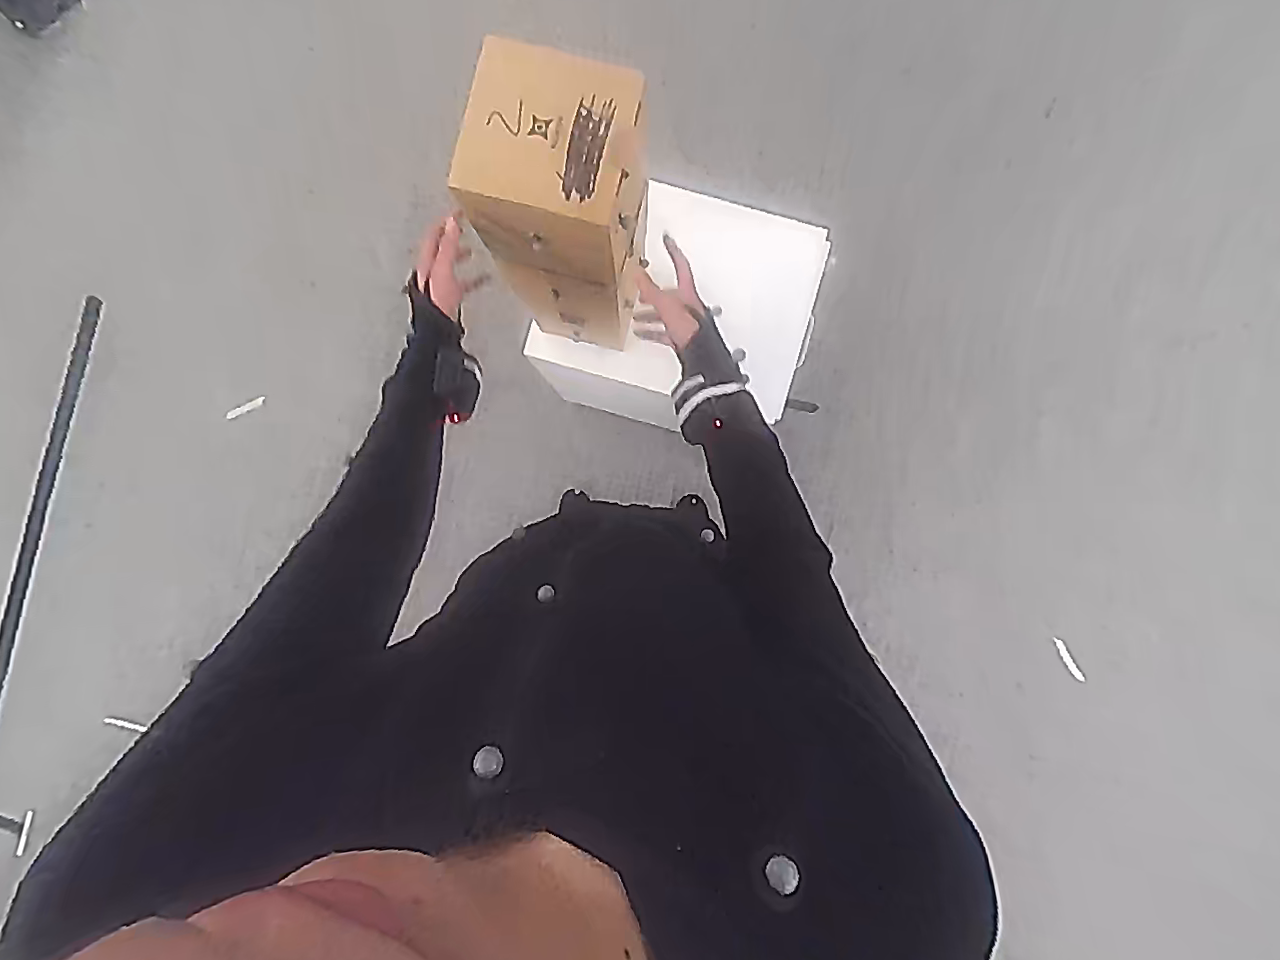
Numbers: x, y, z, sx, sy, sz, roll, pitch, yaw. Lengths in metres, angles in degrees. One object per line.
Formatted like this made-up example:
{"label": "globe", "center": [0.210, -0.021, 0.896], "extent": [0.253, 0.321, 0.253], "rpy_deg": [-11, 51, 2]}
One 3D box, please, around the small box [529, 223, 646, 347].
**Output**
{"label": "small box", "center": [-0.091, -0.356, 0.957], "extent": [0.168, 0.176, 0.179], "rpy_deg": [15, 91, 1]}

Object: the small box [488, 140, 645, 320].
{"label": "small box", "center": [-0.096, -0.350, 0.793], "extent": [0.179, 0.176, 0.168], "rpy_deg": [15, 90, 1]}
